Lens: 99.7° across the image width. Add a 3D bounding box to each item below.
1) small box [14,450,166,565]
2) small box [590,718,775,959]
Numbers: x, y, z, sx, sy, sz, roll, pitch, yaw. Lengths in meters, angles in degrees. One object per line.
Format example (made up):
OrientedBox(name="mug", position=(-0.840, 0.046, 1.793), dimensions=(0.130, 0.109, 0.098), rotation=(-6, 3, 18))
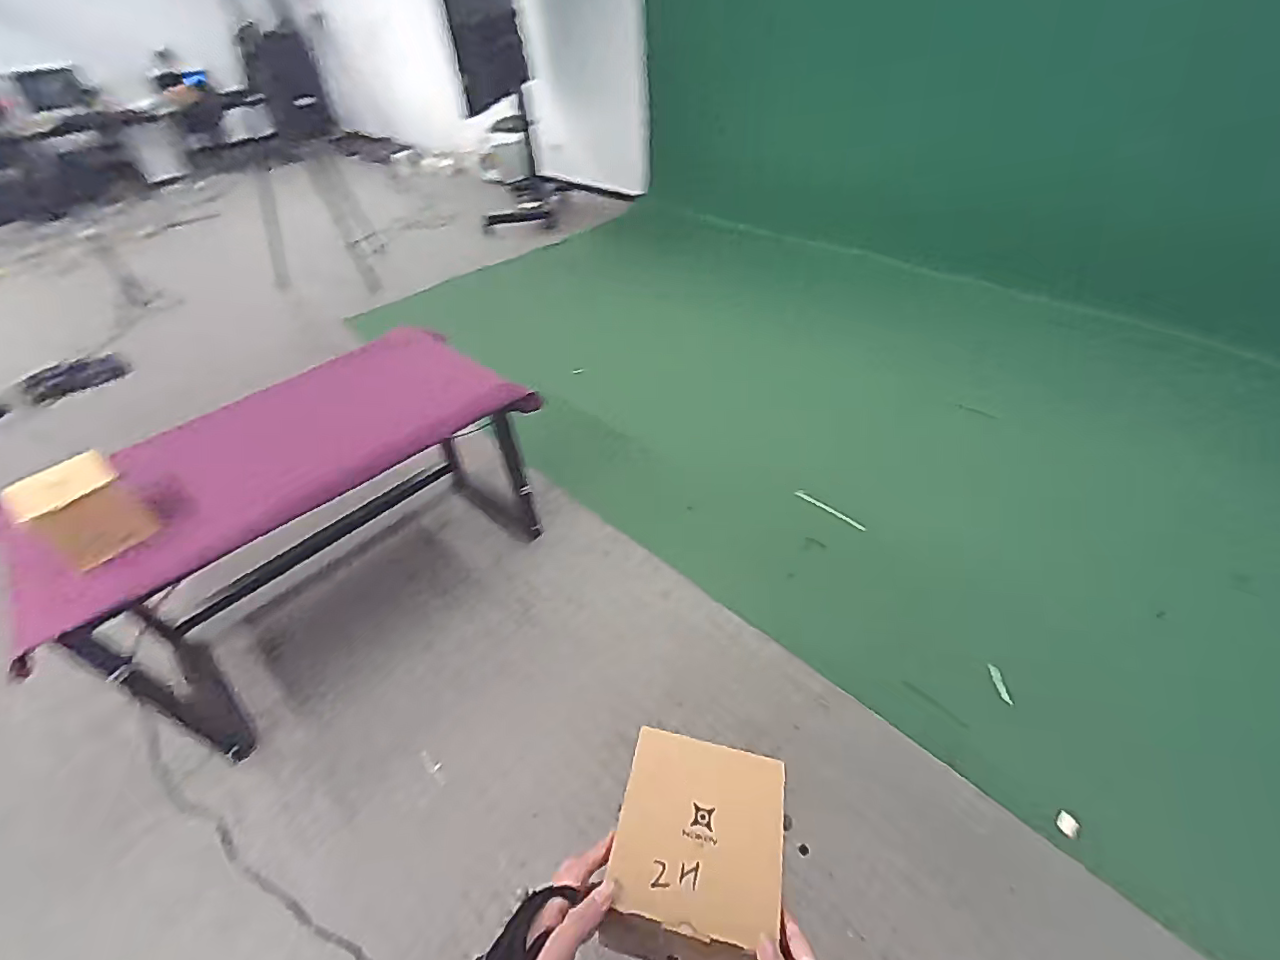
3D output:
OrientedBox(name="small box", position=(-1.260, 0.065, 1.247), dimensions=(0.179, 0.176, 0.168), rotation=(27, 51, 29))
OrientedBox(name="small box", position=(0.047, 0.400, 0.592), dimensions=(0.168, 0.176, 0.179), rotation=(9, 39, 9))
